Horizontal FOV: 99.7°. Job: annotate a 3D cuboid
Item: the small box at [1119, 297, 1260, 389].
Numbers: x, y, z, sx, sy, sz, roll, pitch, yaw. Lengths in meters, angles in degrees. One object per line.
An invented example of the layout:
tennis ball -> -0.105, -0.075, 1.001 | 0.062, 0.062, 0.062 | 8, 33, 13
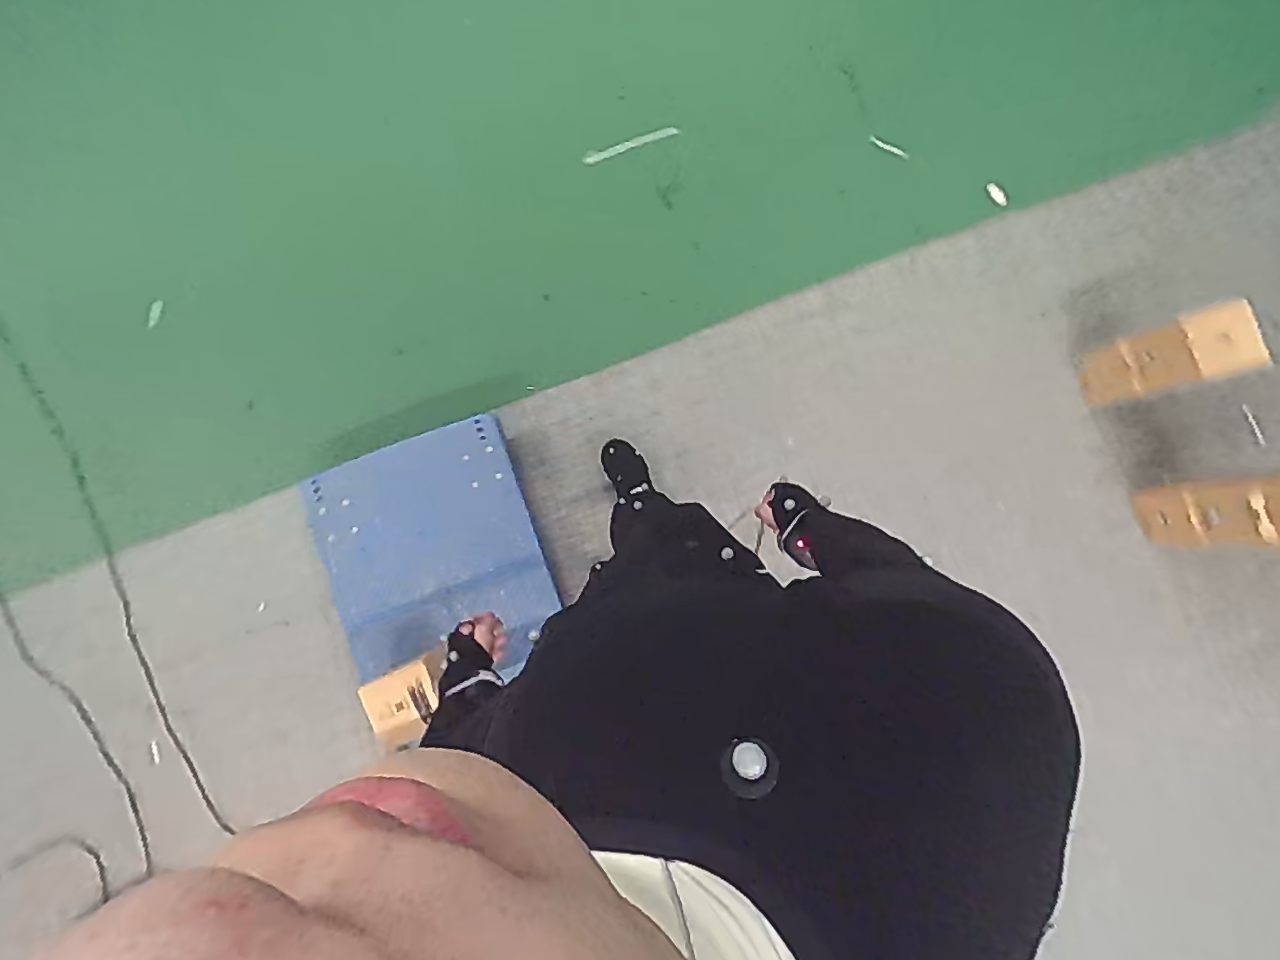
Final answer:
small box -> 1.433, -0.353, 1.422 | 0.179, 0.176, 0.168 | -16, 86, 0

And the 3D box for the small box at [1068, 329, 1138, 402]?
small box -> 1.419, -0.341, 1.599 | 0.179, 0.176, 0.168 | -17, 86, -1

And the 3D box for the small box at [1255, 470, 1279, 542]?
small box -> 1.576, 0.047, 1.224 | 0.168, 0.176, 0.179 | -15, 86, 0

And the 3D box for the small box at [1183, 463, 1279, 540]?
small box -> 1.576, 0.053, 1.387 | 0.179, 0.176, 0.168 | -15, 85, -1

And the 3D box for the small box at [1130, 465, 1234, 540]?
small box -> 1.568, 0.069, 1.551 | 0.179, 0.176, 0.168 | -19, 86, 0
